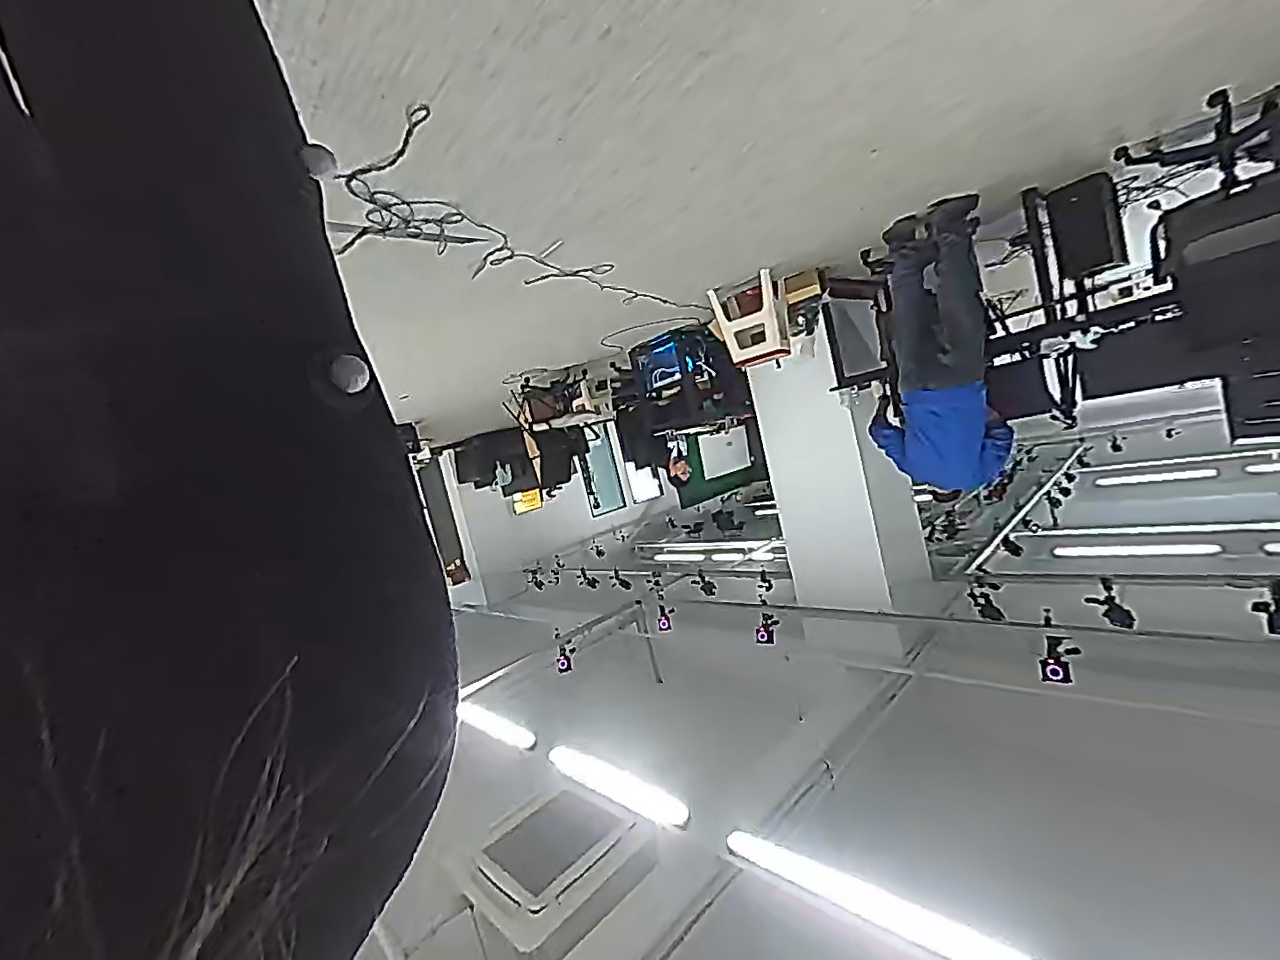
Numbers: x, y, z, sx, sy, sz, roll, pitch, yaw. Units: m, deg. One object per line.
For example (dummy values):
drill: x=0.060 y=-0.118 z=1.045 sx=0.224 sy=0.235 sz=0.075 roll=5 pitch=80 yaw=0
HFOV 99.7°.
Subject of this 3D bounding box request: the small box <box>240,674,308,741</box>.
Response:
small box: x=-1.407 y=0.860 z=2.077 sx=0.179 sy=0.176 sz=0.168 roll=-15 pitch=-177 yaw=-39
